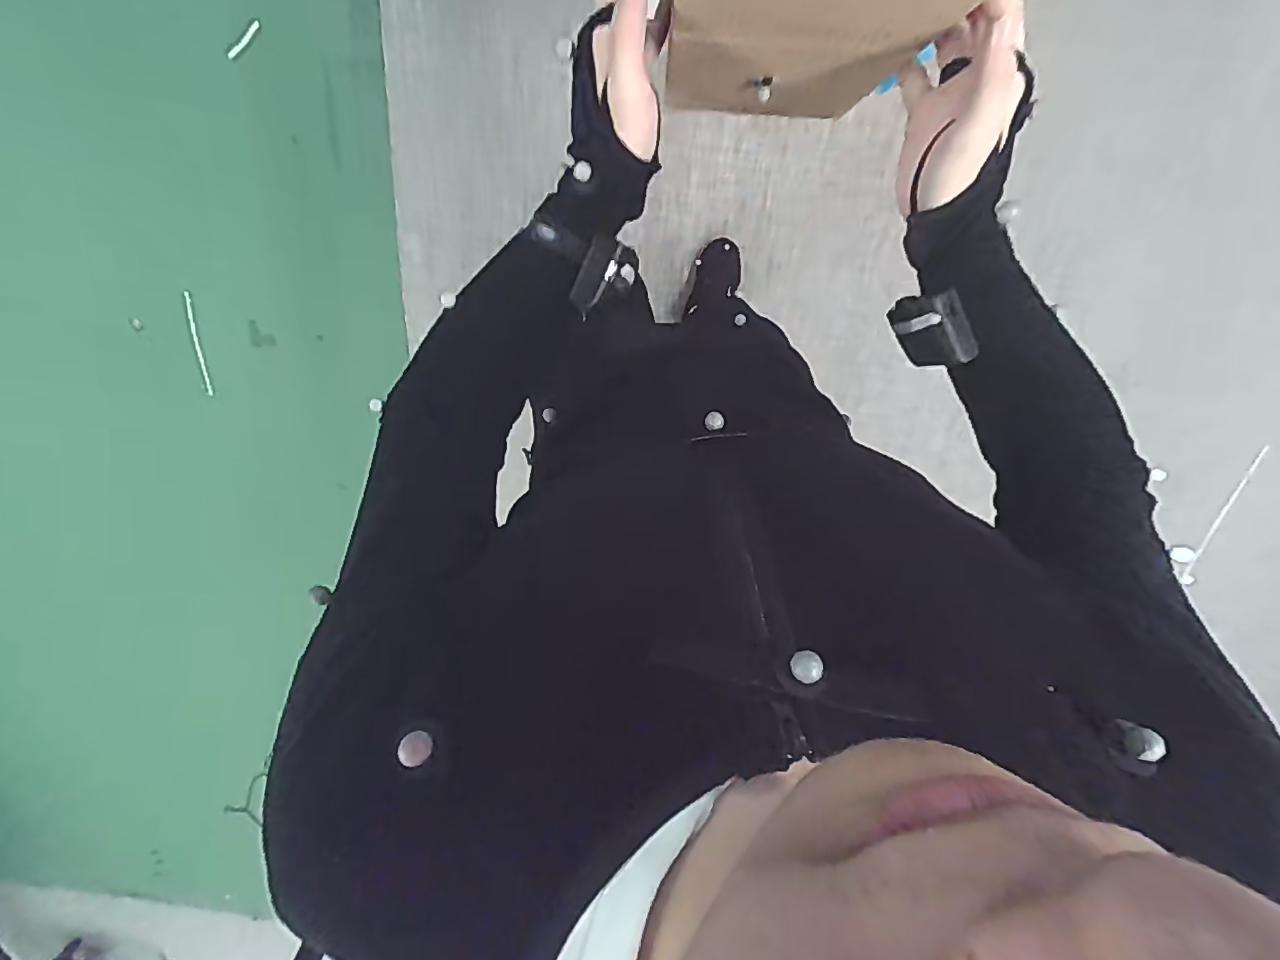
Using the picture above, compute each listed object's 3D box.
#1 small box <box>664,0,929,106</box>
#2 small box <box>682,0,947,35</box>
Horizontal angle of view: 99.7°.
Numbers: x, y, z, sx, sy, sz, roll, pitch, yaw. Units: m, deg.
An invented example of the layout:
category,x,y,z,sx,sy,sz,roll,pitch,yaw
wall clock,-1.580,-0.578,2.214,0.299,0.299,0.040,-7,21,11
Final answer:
category,x,y,z,sx,sy,sz,roll,pitch,yaw
small box,0.114,-0.410,0.416,0.179,0.176,0.168,3,110,-1
small box,0.113,-0.353,0.262,0.179,0.176,0.168,4,111,-2
